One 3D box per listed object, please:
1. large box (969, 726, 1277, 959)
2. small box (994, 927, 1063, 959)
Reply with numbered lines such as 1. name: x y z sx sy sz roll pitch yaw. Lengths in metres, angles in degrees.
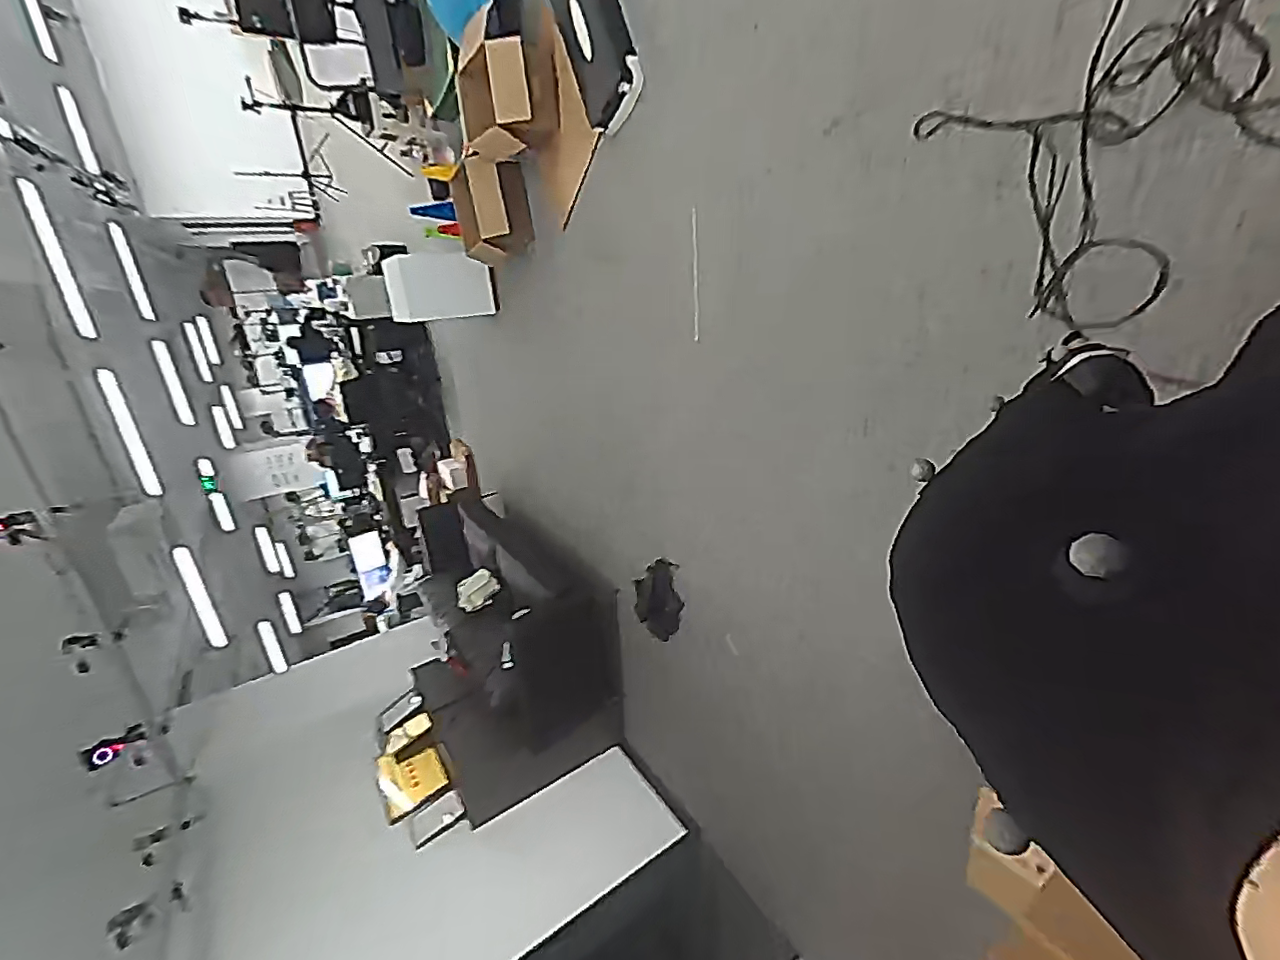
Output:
1. large box: 1.020 0.836 1.180 0.408 0.320 0.320 24 124 54
2. small box: 0.704 0.957 0.950 0.179 0.176 0.168 30 129 51
